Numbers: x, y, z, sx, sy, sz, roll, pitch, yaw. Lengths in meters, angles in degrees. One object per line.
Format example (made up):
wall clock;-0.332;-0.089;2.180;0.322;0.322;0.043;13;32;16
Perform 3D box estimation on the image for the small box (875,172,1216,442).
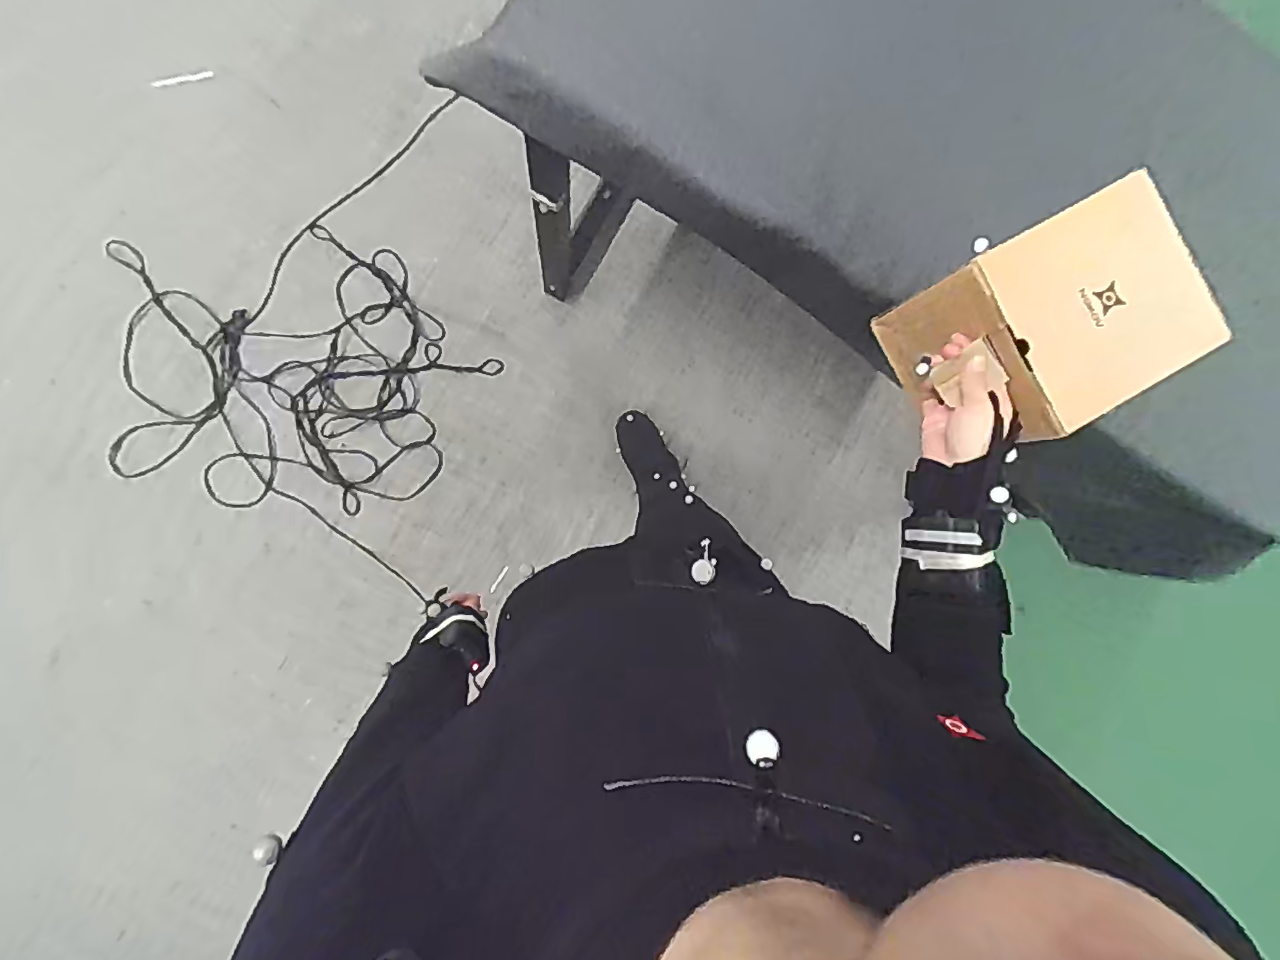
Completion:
small box;0.376;-0.151;0.532;0.179;0.176;0.168;-30;92;-6
